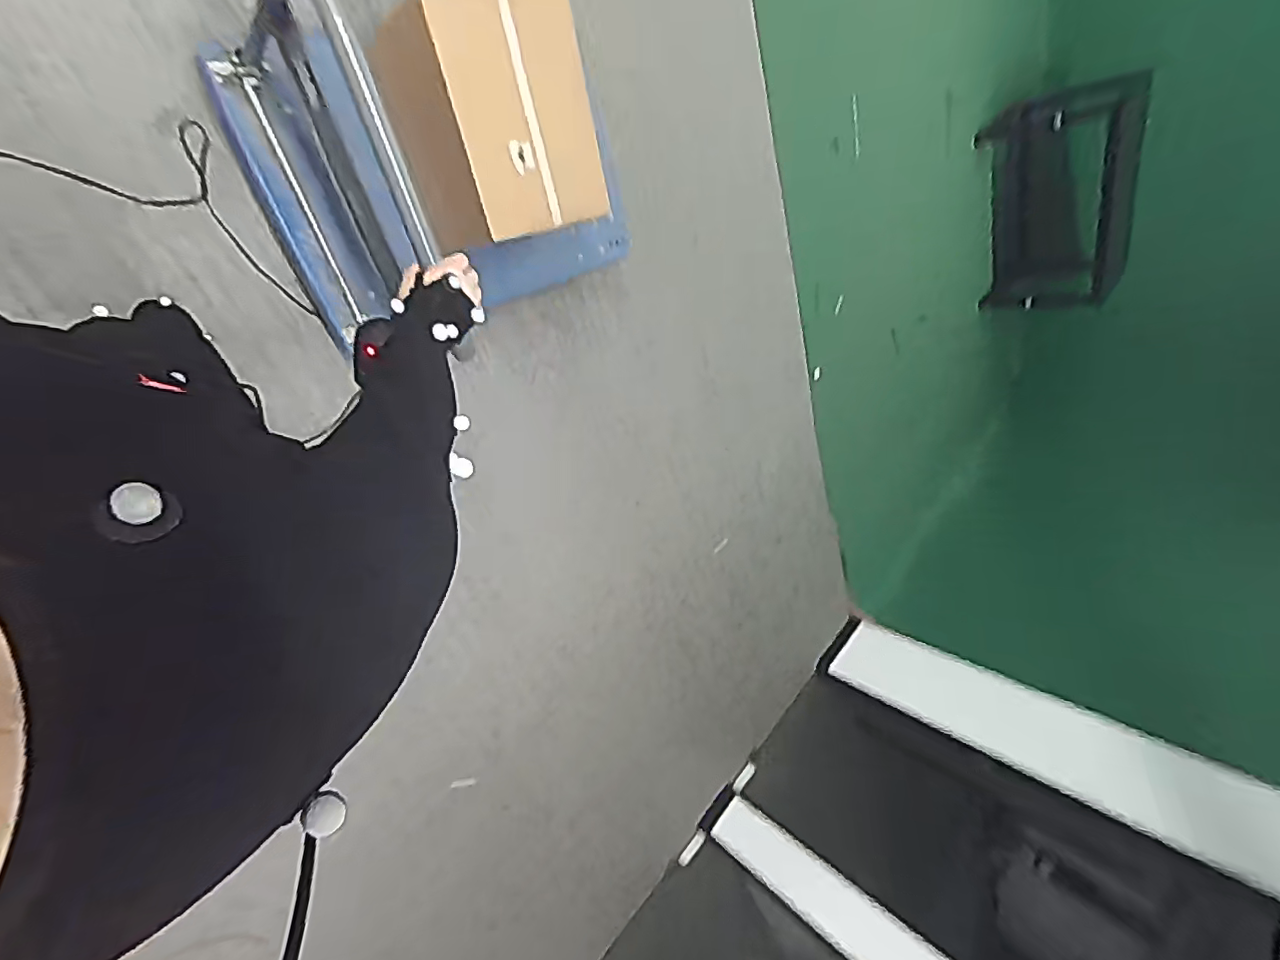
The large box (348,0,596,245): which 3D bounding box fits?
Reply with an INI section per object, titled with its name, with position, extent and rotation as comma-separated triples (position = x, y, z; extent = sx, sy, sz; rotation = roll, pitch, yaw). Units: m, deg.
[large box]
position = -0.348, -0.759, 1.161
extent = 0.320, 0.320, 0.408
rotation = -32, 123, -32
